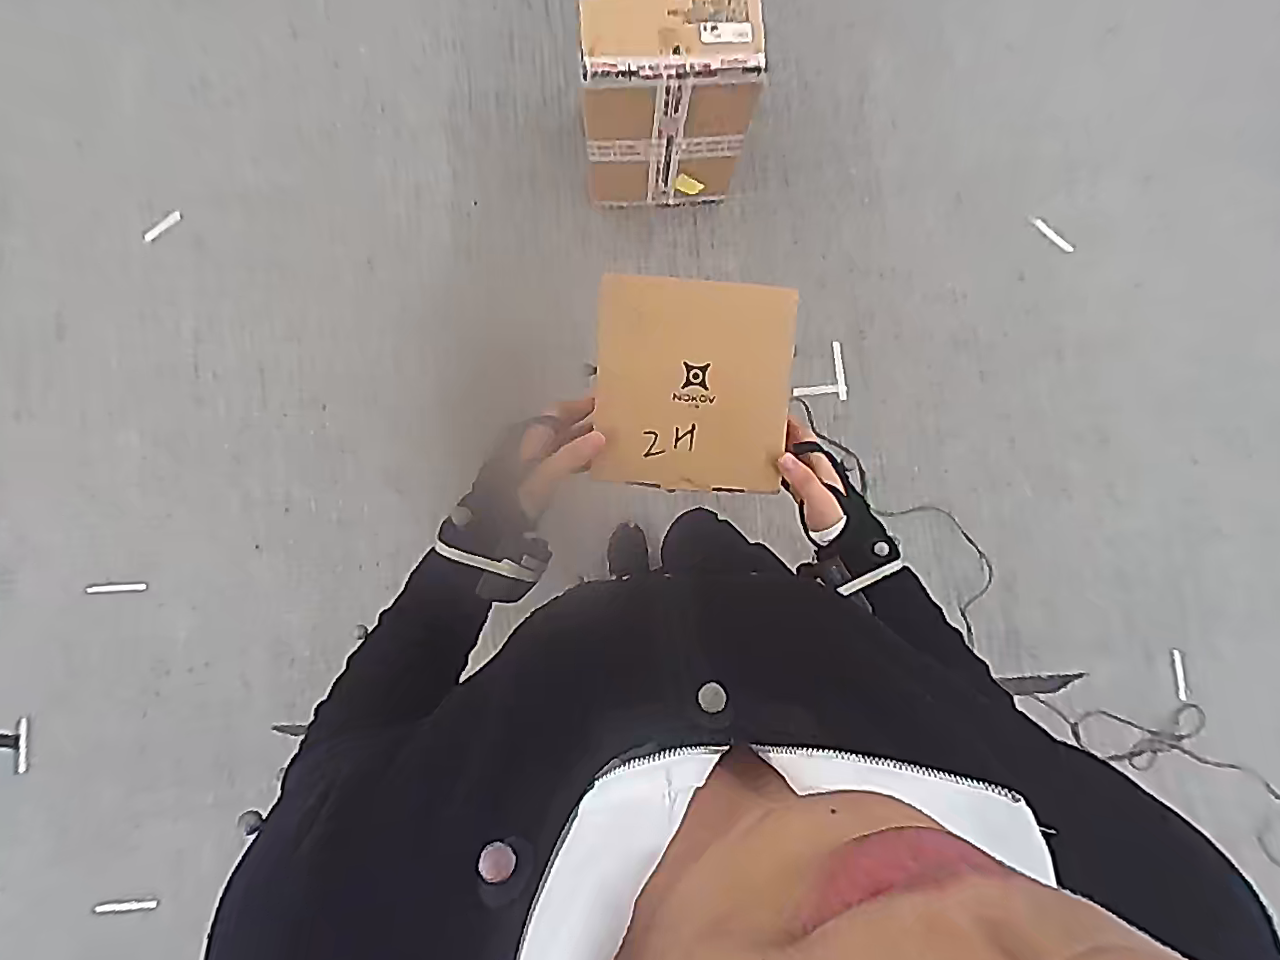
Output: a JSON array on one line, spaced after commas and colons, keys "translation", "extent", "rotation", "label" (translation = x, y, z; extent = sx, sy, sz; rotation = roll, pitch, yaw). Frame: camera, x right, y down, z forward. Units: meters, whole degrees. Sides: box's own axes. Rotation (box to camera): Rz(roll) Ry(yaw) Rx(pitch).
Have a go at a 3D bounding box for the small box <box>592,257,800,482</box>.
[{"translation": [0.042, -0.097, 0.530], "extent": [0.168, 0.176, 0.179], "rotation": [4, 95, -3], "label": "small box"}]
